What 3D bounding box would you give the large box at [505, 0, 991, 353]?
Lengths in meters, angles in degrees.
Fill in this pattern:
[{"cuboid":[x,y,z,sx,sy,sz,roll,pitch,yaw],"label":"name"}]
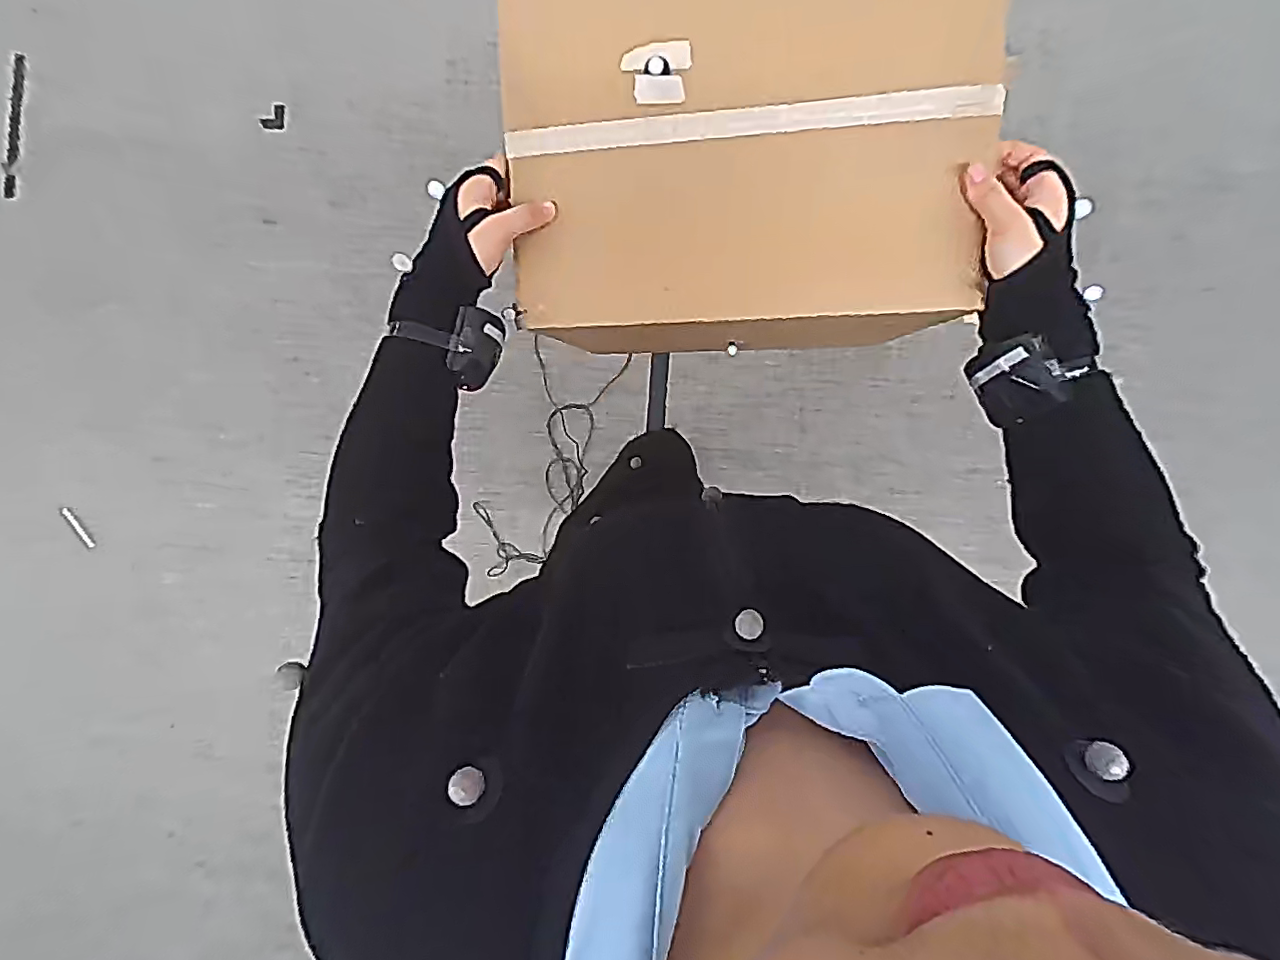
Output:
[{"cuboid":[0.107,-0.320,0.609,0.408,0.320,0.320,-1,97,9],"label":"large box"}]
